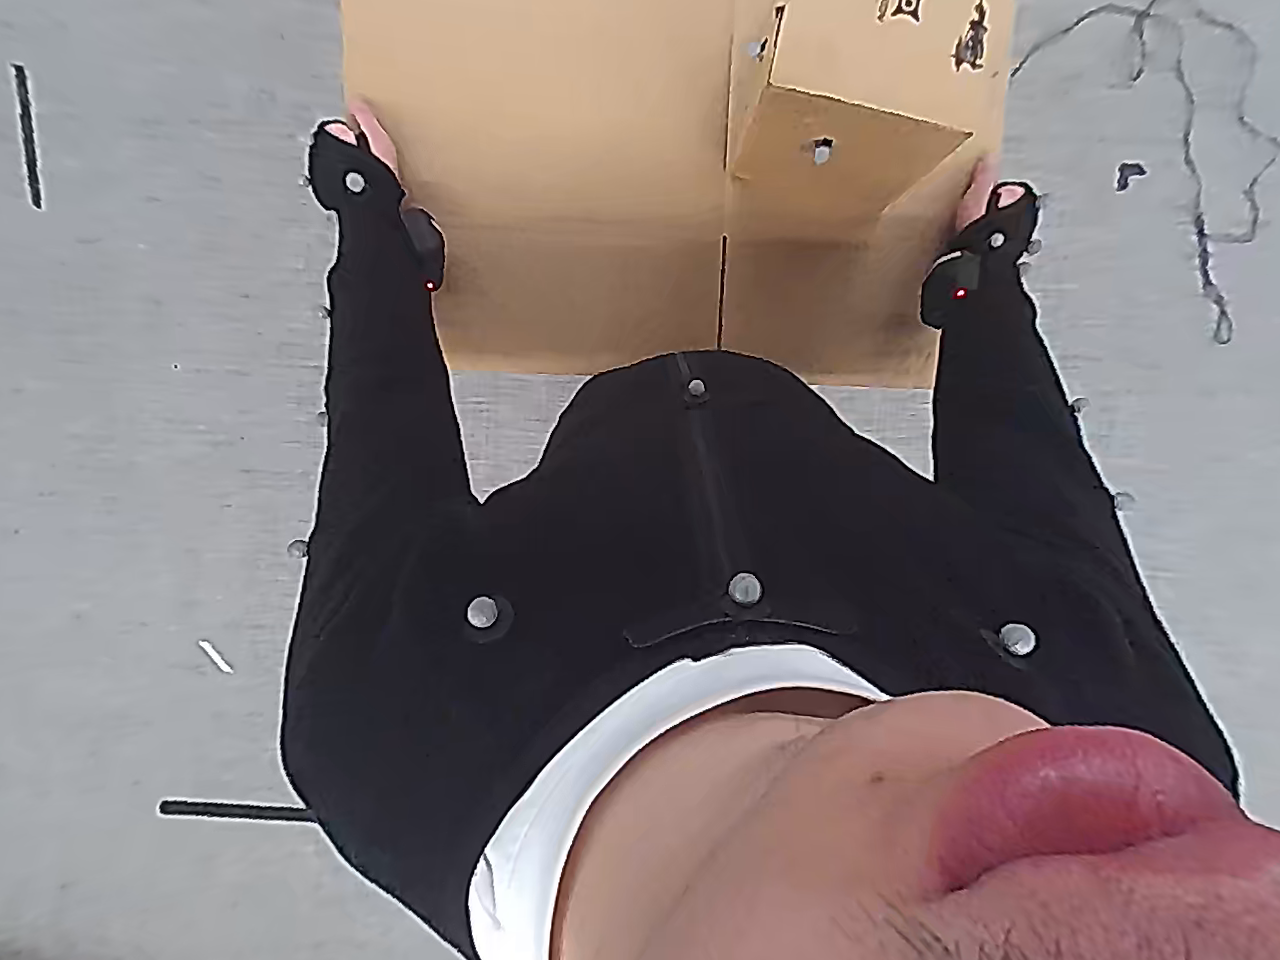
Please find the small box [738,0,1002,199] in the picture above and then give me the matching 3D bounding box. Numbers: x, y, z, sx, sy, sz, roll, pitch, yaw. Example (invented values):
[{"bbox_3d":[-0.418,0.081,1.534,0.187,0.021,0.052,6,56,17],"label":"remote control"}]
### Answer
[{"bbox_3d":[0.201,-0.392,0.509,0.179,0.176,0.168,12,98,-1],"label":"small box"}]
